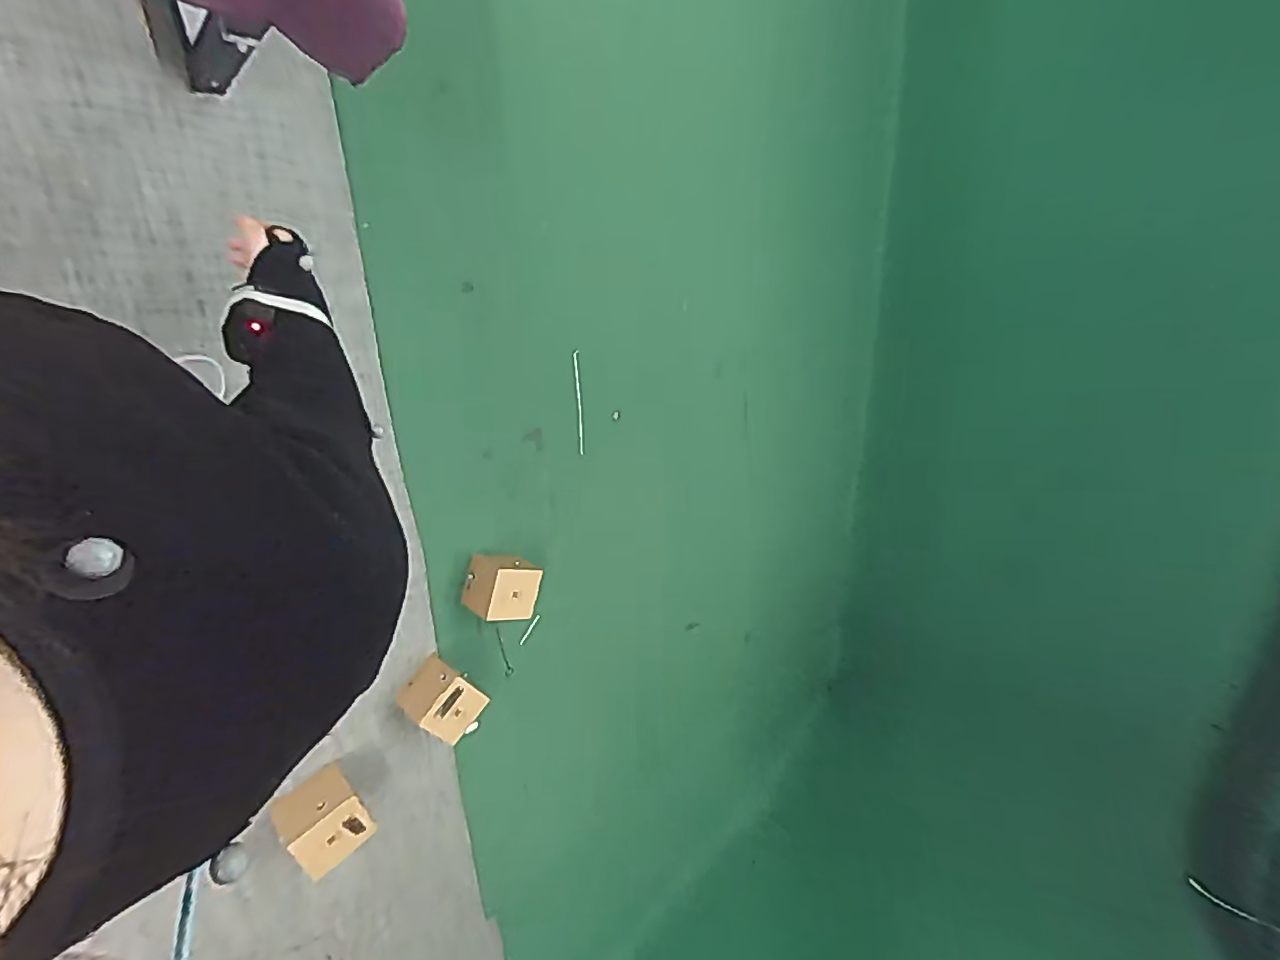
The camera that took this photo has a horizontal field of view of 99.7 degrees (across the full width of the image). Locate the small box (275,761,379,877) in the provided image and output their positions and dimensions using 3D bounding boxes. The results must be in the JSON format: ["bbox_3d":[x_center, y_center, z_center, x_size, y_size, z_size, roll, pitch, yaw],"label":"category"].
[{"bbox_3d":[-0.864,0.924,1.492,0.179,0.176,0.168,-33,124,-35],"label":"small box"}]

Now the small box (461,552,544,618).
[{"bbox_3d":[-0.448,0.337,1.759,0.179,0.176,0.168,13,92,-48],"label":"small box"}]
